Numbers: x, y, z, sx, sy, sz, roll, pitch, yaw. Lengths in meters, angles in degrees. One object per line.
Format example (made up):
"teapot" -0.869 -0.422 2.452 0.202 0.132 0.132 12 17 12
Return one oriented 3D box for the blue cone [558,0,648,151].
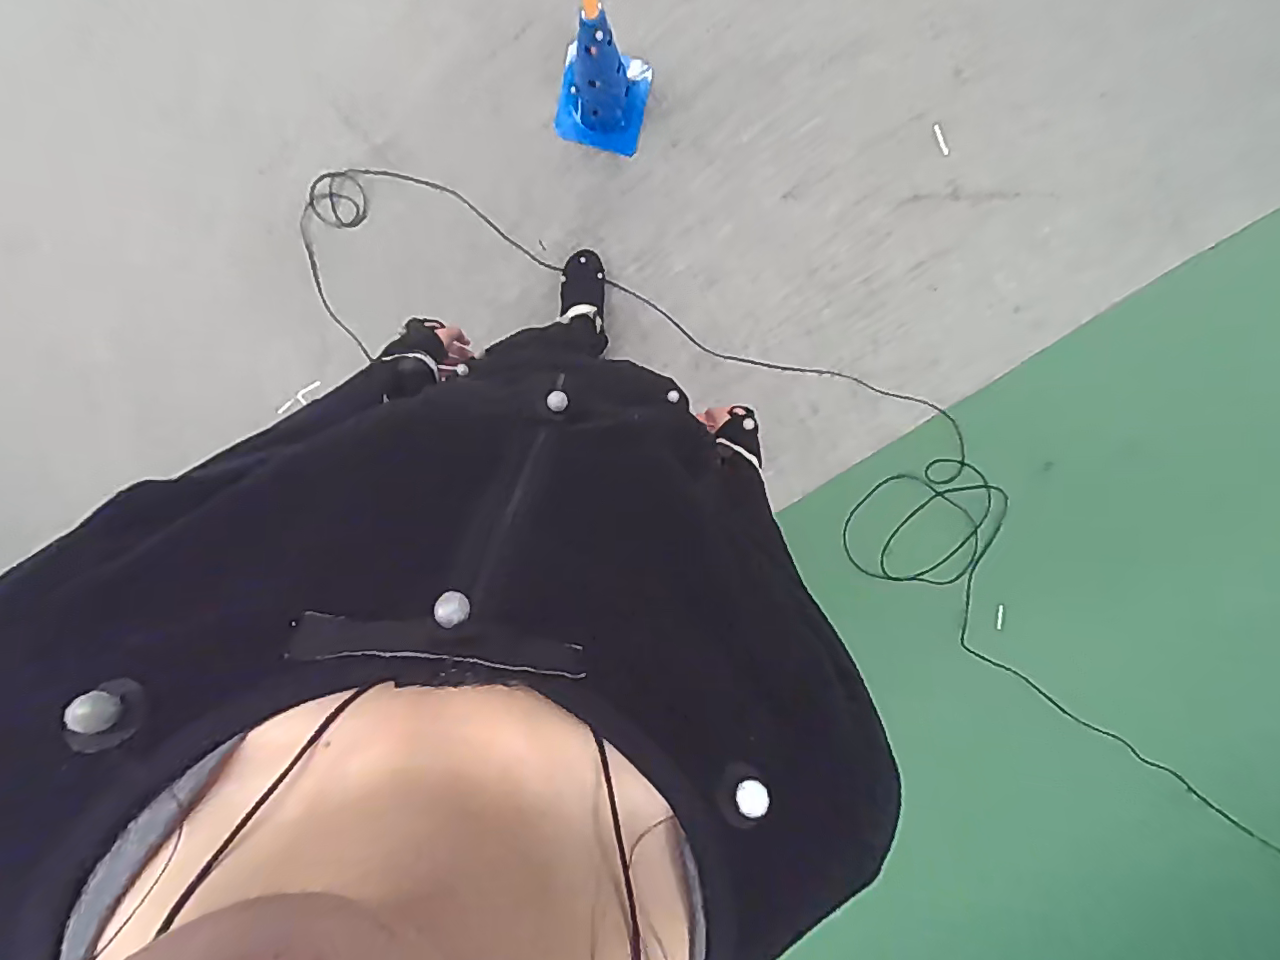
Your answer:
"blue cone" -0.084 -0.830 1.079 0.192 0.380 0.193 12 104 -4
